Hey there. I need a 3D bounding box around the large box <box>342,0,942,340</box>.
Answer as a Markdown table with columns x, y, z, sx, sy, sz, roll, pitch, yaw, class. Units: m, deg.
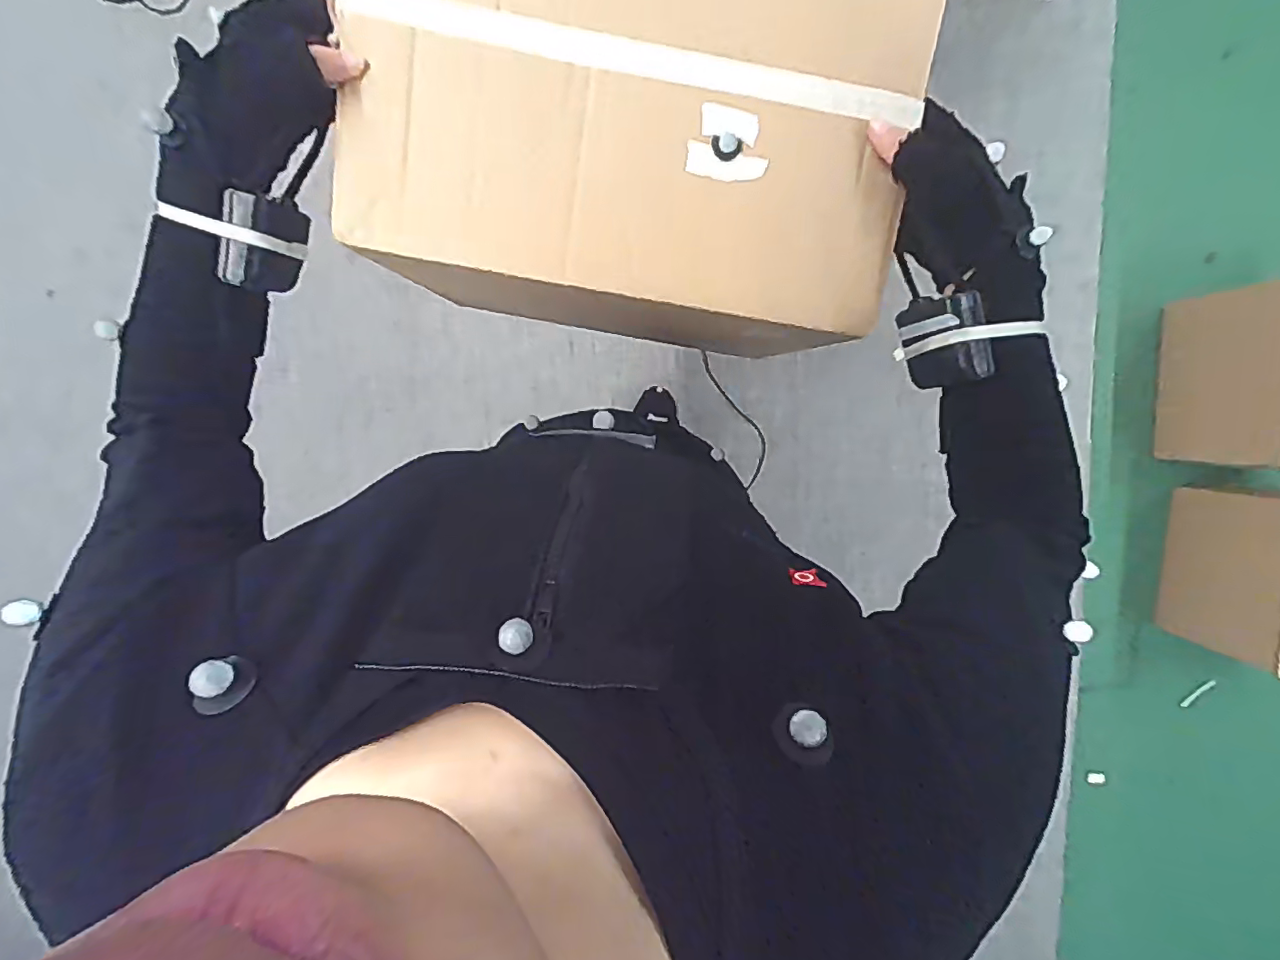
| x | y | z | sx | sy | sz | roll | pitch | yaw | class |
| --- | --- | --- | --- | --- | --- | --- | --- | --- | --- |
| -0.006 | -0.327 | 0.518 | 0.408 | 0.320 | 0.320 | 8 | 101 | -6 | large box |
